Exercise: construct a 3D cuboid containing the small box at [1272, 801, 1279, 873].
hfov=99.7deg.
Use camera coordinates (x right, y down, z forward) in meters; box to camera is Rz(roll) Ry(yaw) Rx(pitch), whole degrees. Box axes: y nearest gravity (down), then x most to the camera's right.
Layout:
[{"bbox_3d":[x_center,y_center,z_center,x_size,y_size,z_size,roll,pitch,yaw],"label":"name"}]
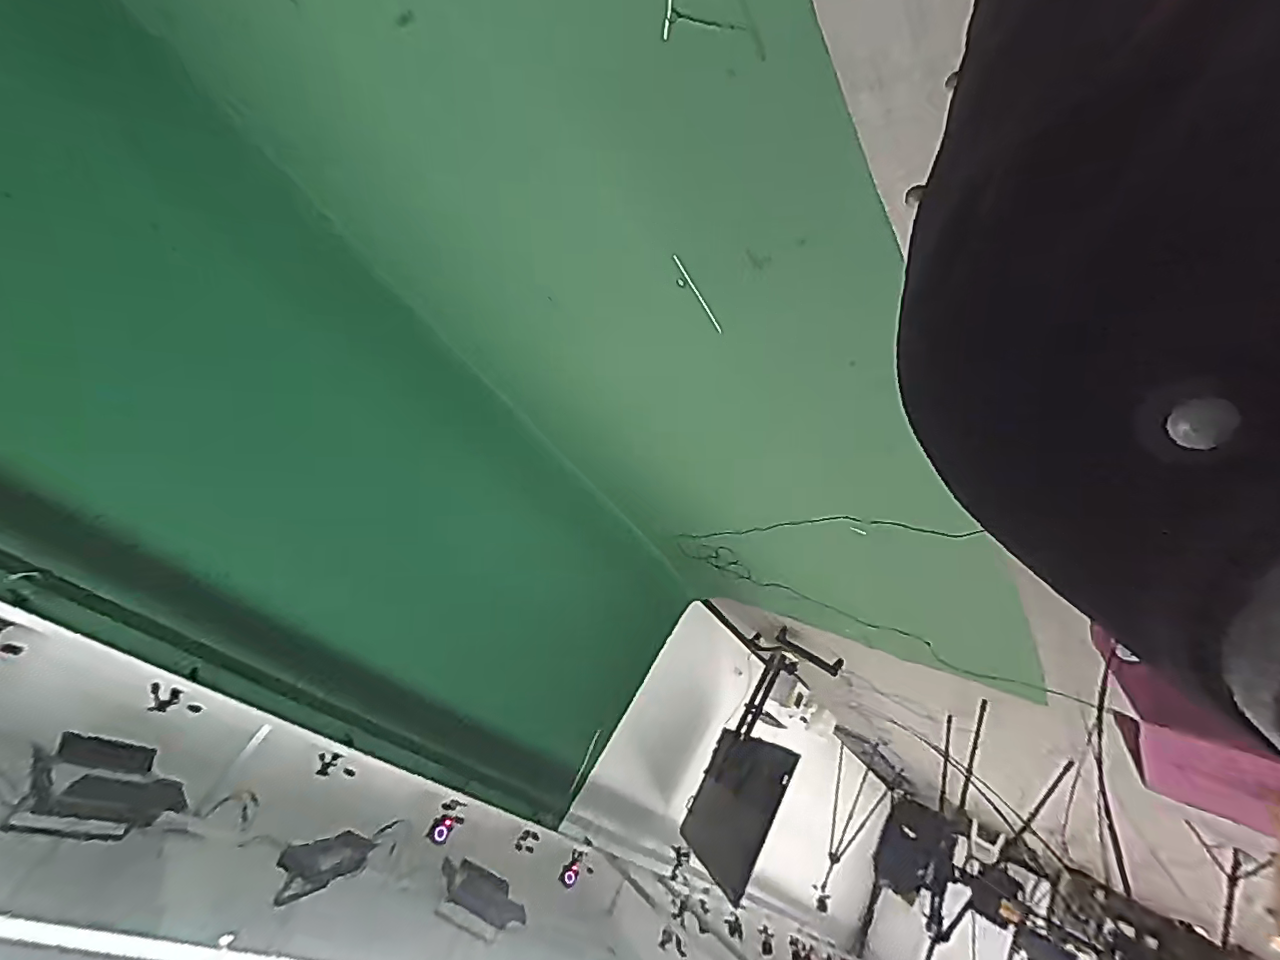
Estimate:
[{"bbox_3d":[1.630,0.865,1.270,0.168,0.176,0.179,10,149,47],"label":"small box"}]
